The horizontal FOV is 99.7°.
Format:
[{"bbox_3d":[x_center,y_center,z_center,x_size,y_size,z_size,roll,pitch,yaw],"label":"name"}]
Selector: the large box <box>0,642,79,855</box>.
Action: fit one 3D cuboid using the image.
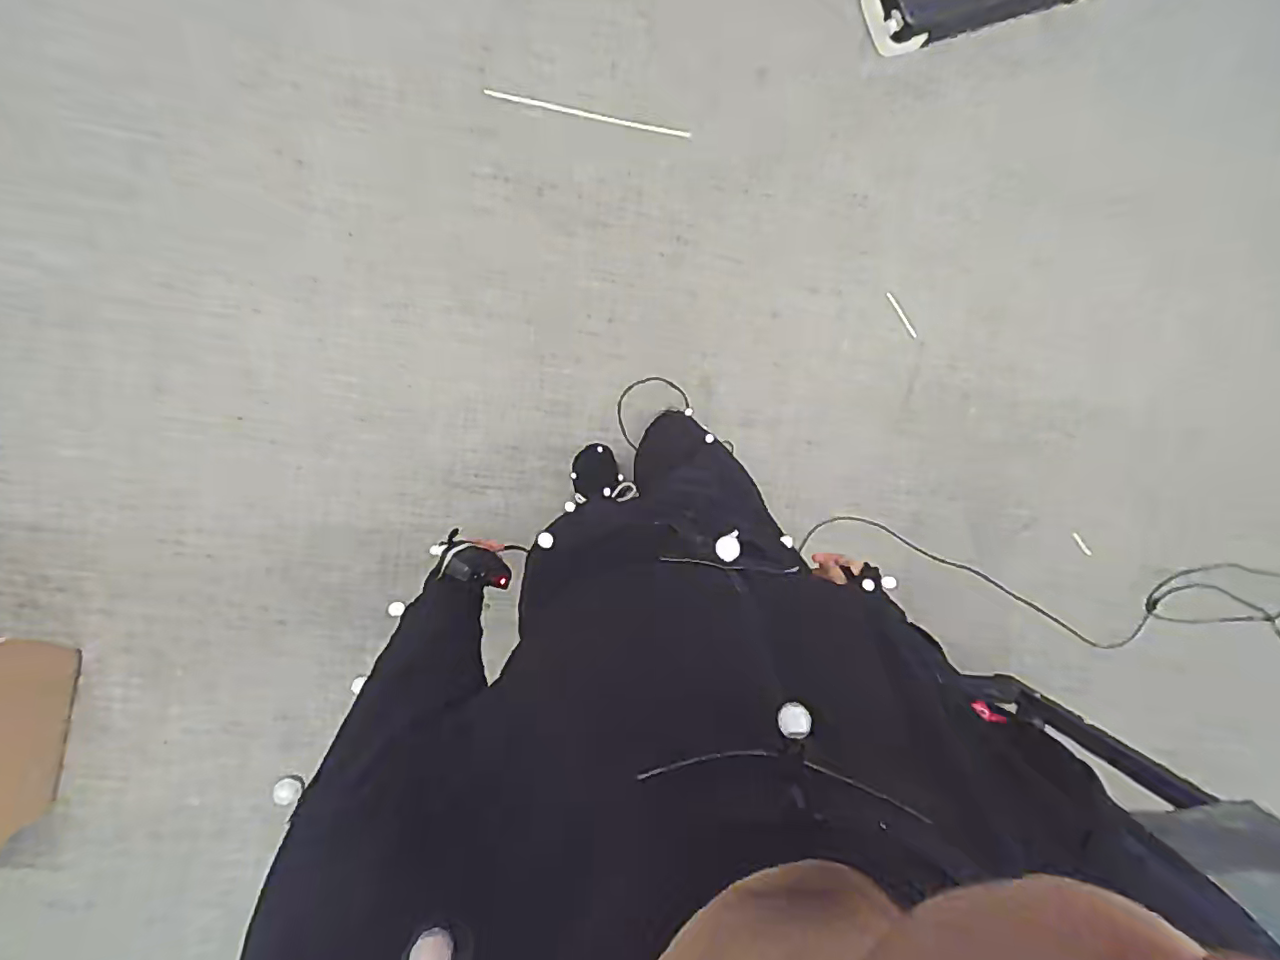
[{"bbox_3d":[-1.445,0.573,1.077,0.320,0.320,0.408,14,94,-10],"label":"large box"}]
